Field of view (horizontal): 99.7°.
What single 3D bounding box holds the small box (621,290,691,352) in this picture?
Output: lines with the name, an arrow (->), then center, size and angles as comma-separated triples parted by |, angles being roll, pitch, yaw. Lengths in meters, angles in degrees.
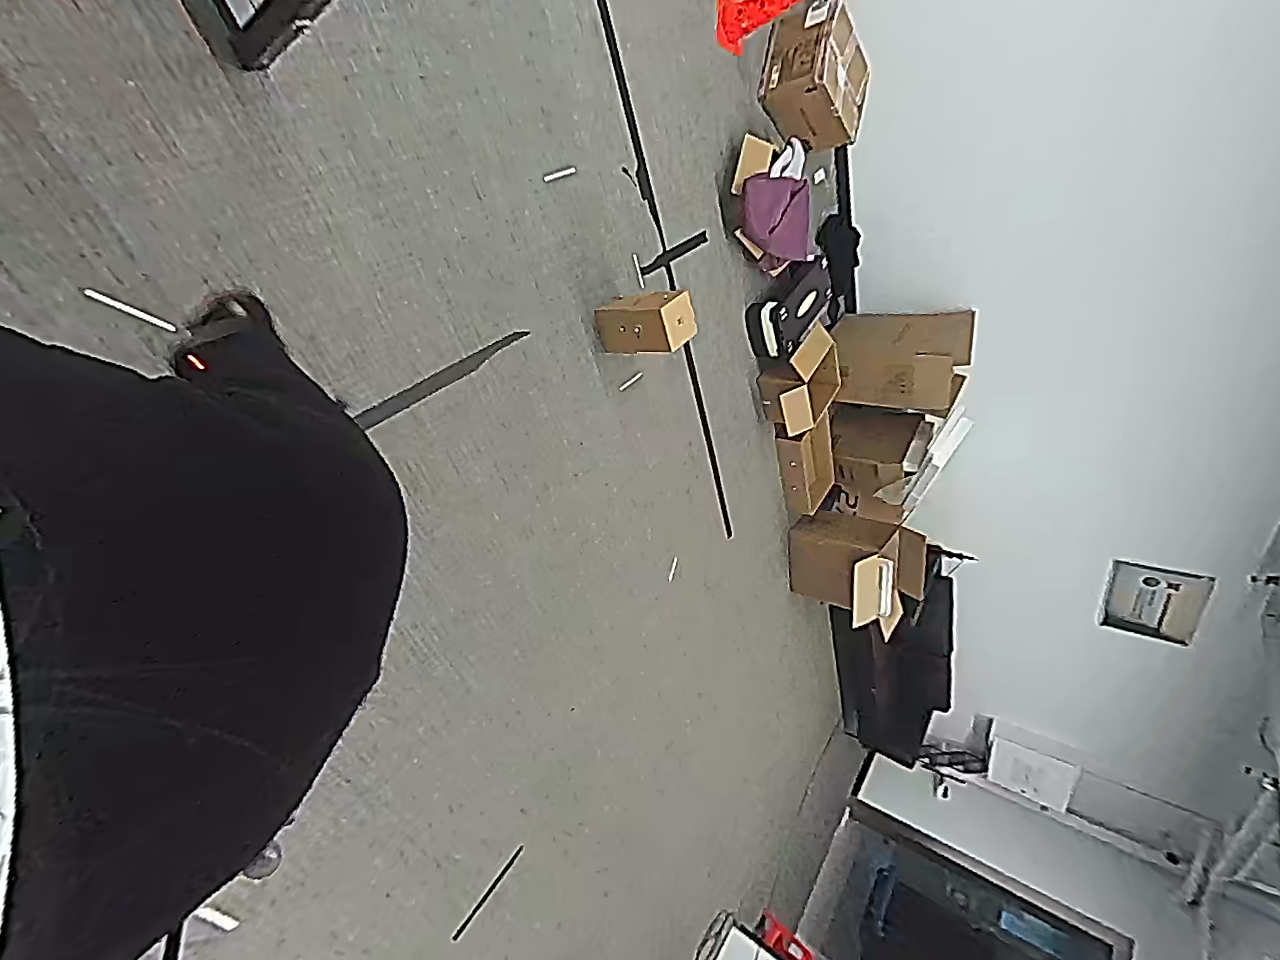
small box -> 0.061, -0.587, 1.991 | 0.179, 0.176, 0.168 | -44, 130, -33

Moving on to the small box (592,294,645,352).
small box -> -0.063, -0.608, 2.094 | 0.168, 0.176, 0.179 | -41, 130, -37
